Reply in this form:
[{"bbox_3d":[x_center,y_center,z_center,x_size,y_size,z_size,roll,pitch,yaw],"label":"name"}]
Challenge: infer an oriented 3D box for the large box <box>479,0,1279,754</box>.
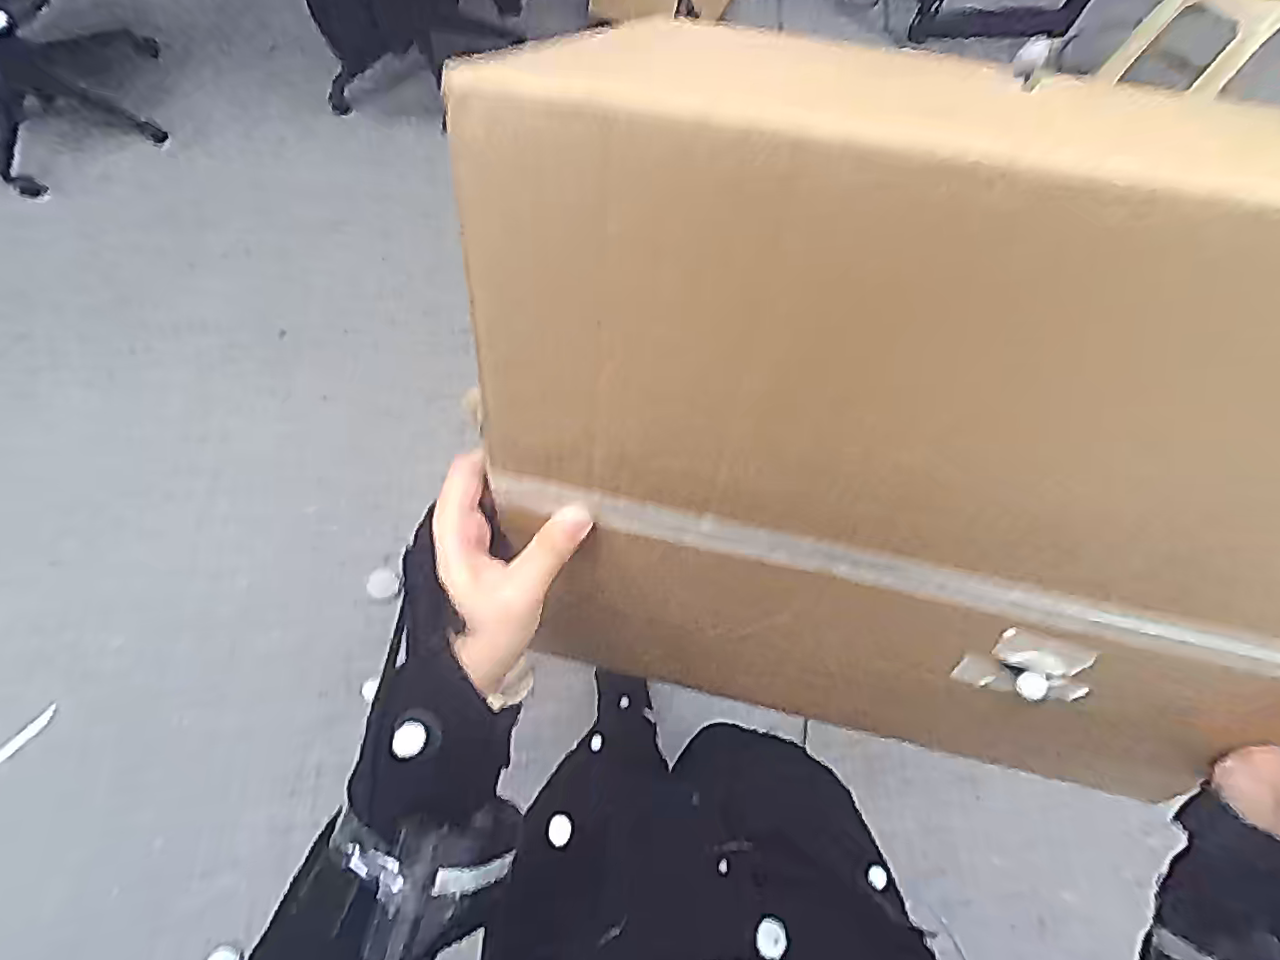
[{"bbox_3d":[0.164,-0.084,0.341,0.408,0.320,0.320,11,44,5],"label":"large box"}]
